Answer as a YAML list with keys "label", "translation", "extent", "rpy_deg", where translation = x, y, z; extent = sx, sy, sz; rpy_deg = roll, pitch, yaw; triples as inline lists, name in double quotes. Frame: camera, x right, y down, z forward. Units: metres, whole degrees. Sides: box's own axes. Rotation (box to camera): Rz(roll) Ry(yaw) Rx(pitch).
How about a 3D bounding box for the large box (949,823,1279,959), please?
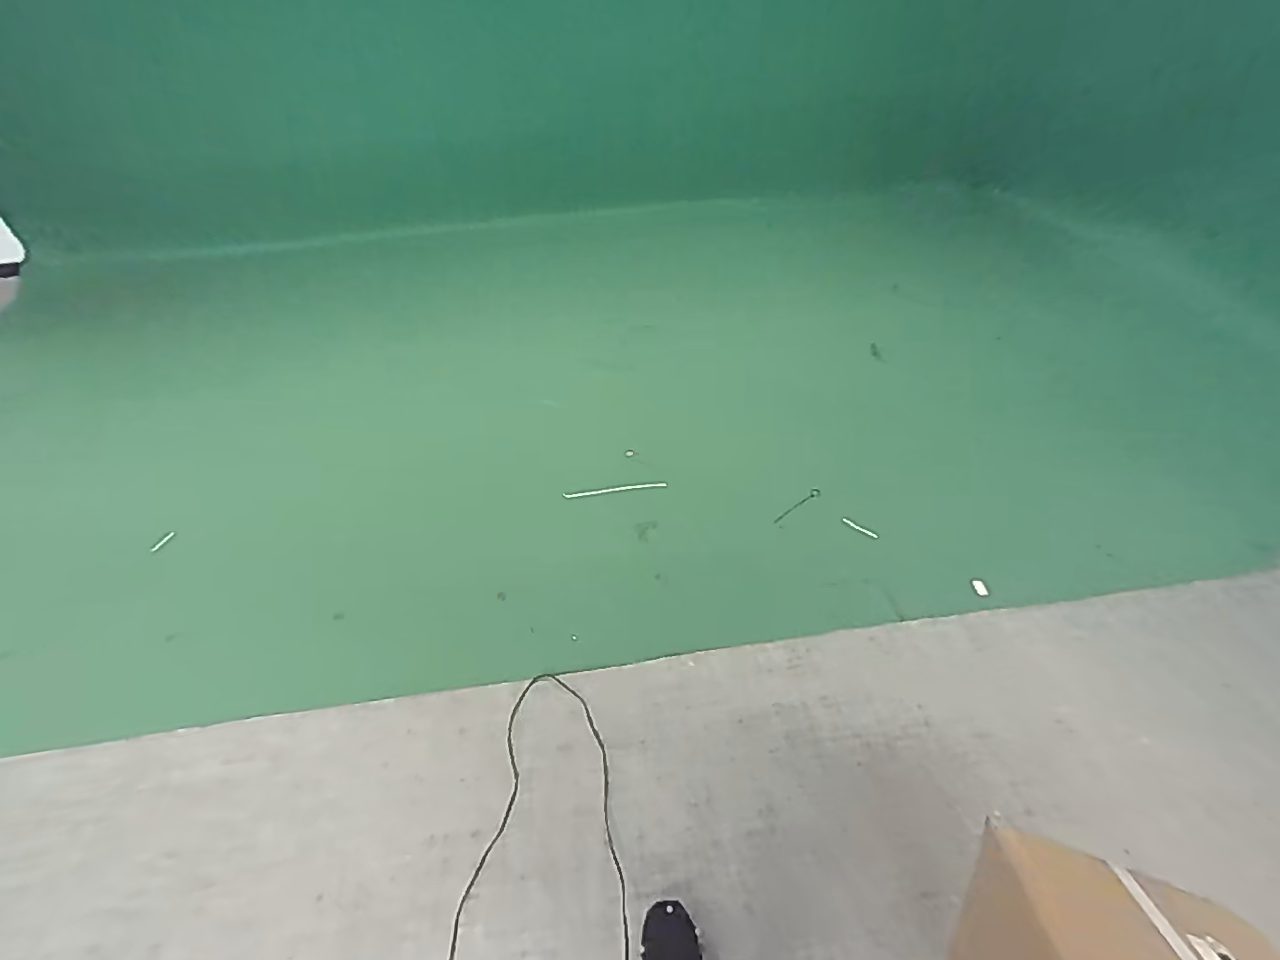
- label: "large box"
  translation: [0.566, 0.691, 0.583]
  extent: [0.320, 0.408, 0.320]
  rpy_deg: [16, 94, 17]
